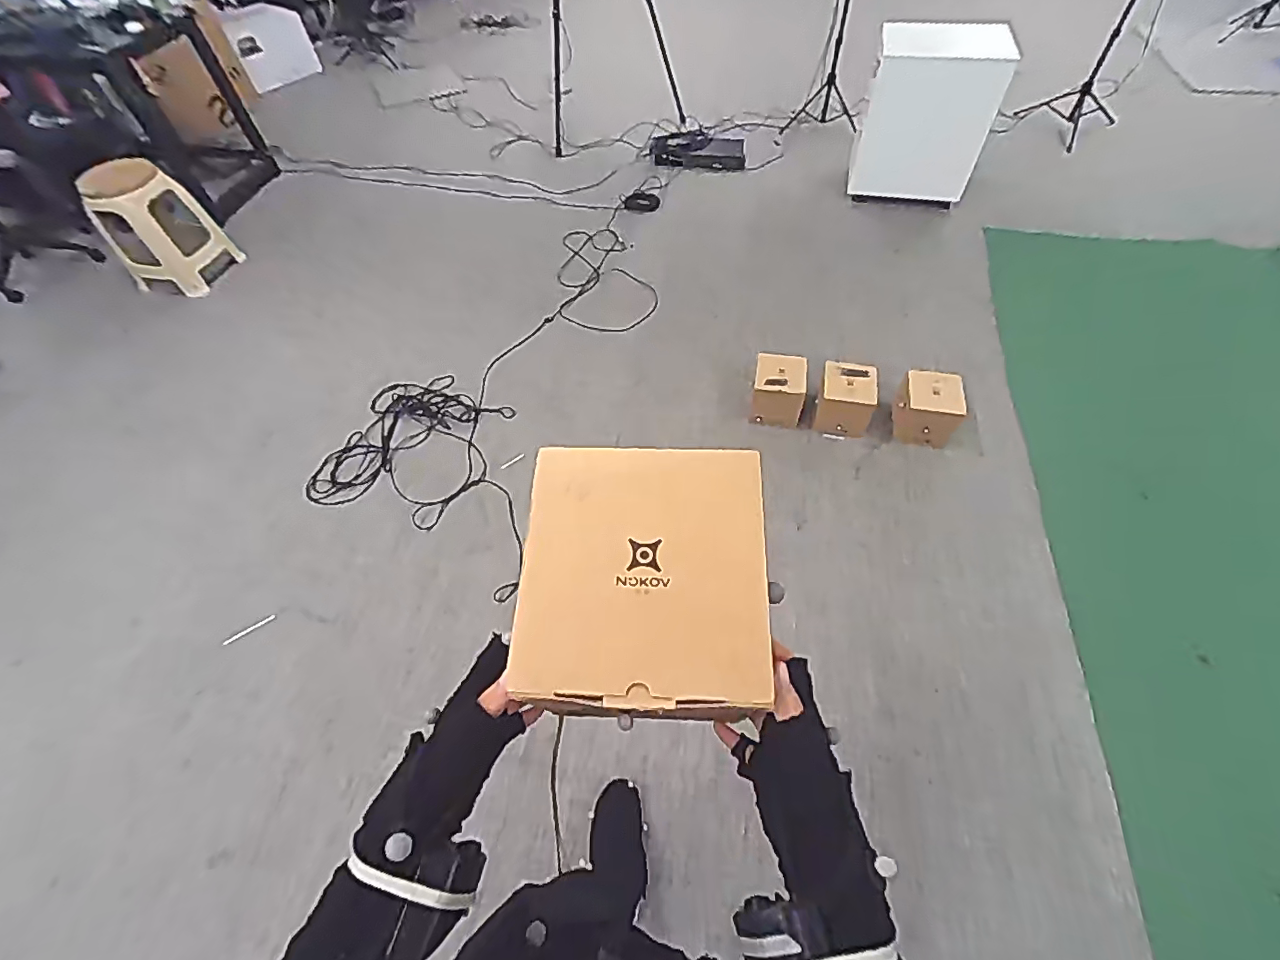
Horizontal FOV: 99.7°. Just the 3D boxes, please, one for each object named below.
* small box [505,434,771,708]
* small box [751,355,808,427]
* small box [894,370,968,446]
[{"bbox_3d":[0.004,0.080,0.436,0.168,0.176,0.179,1,64,3],"label":"small box"},{"bbox_3d":[0.476,-0.302,1.849,0.168,0.176,0.179,7,55,10],"label":"small box"},{"bbox_3d":[0.945,-0.232,1.771,0.168,0.176,0.179,9,56,9],"label":"small box"}]
